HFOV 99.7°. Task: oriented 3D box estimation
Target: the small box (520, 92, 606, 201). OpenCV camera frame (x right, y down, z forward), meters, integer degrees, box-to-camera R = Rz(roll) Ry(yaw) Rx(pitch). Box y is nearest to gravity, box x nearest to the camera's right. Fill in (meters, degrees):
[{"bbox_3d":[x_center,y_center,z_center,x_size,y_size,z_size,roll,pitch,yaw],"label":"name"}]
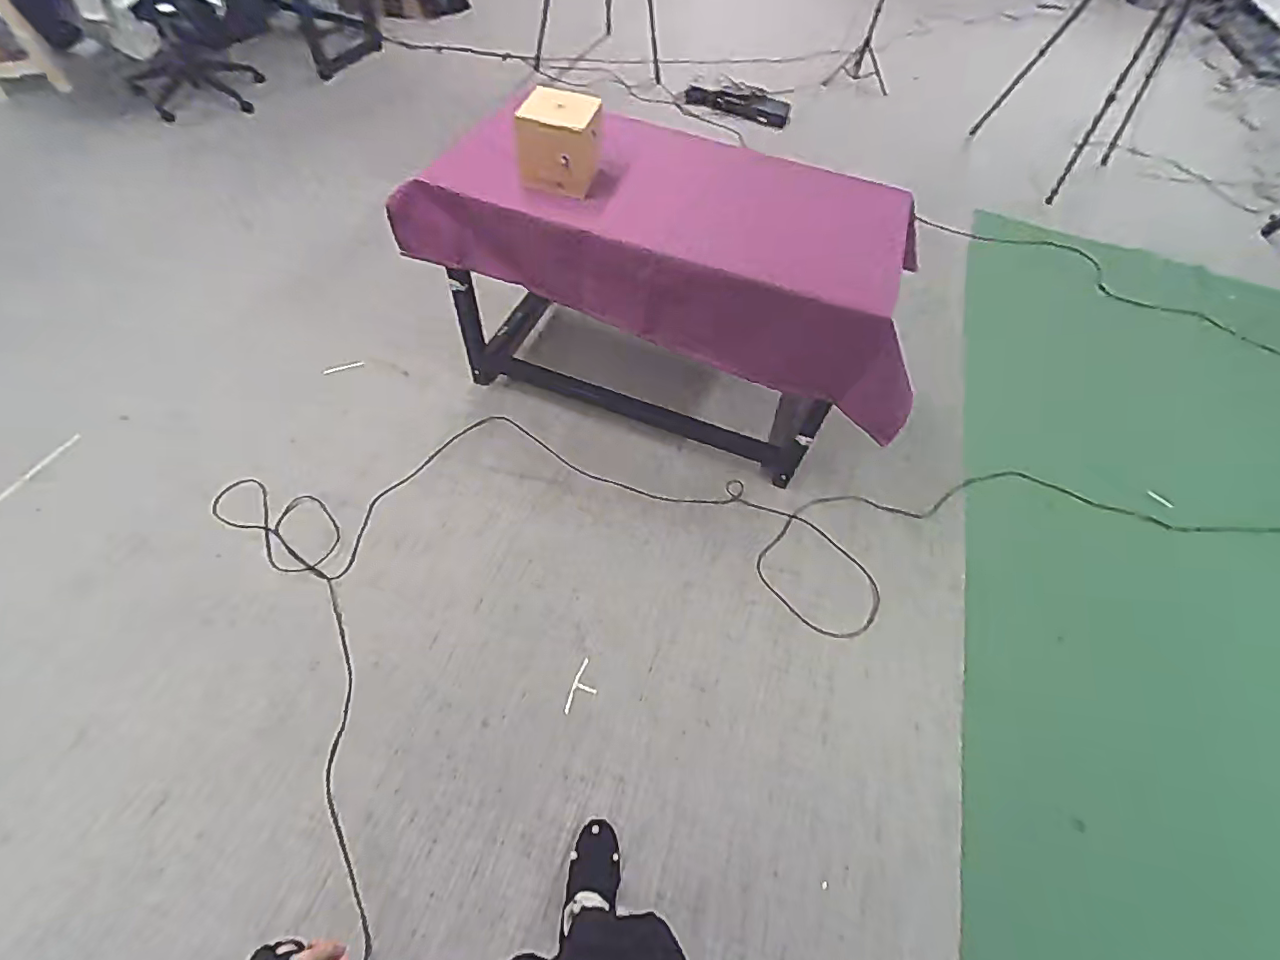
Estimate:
[{"bbox_3d":[-0.187,-0.831,1.356,0.168,0.176,0.179,15,55,3],"label":"small box"}]
